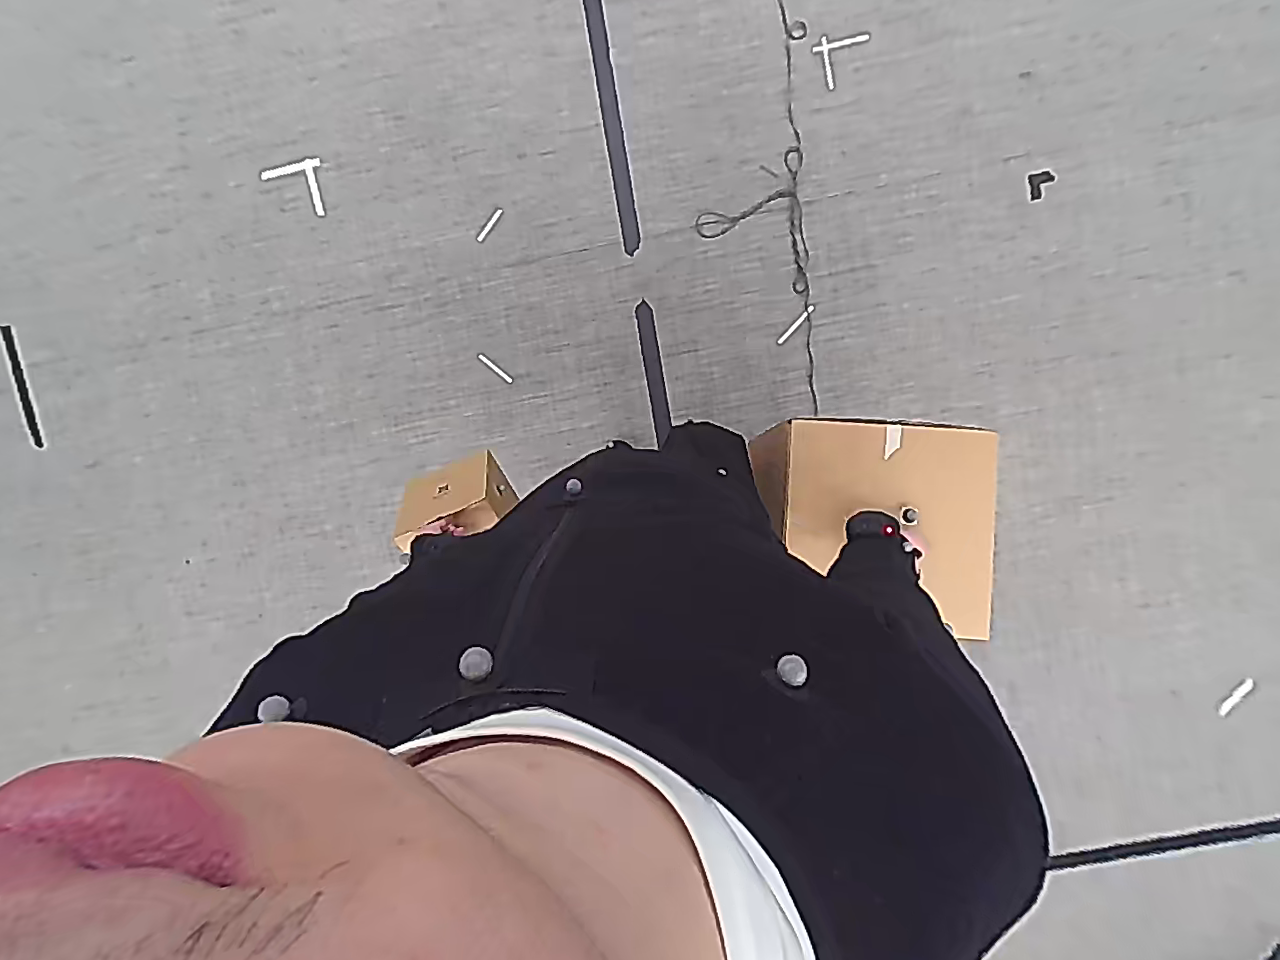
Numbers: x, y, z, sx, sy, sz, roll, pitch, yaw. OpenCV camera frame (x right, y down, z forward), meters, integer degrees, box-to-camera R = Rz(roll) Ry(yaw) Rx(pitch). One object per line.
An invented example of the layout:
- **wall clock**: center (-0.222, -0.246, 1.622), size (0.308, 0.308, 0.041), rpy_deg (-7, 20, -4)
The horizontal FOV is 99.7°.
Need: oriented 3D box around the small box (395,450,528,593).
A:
- **small box**: center (-0.313, 0.081, 0.982), size (0.168, 0.179, 0.176), rpy_deg (-22, 125, 0)
